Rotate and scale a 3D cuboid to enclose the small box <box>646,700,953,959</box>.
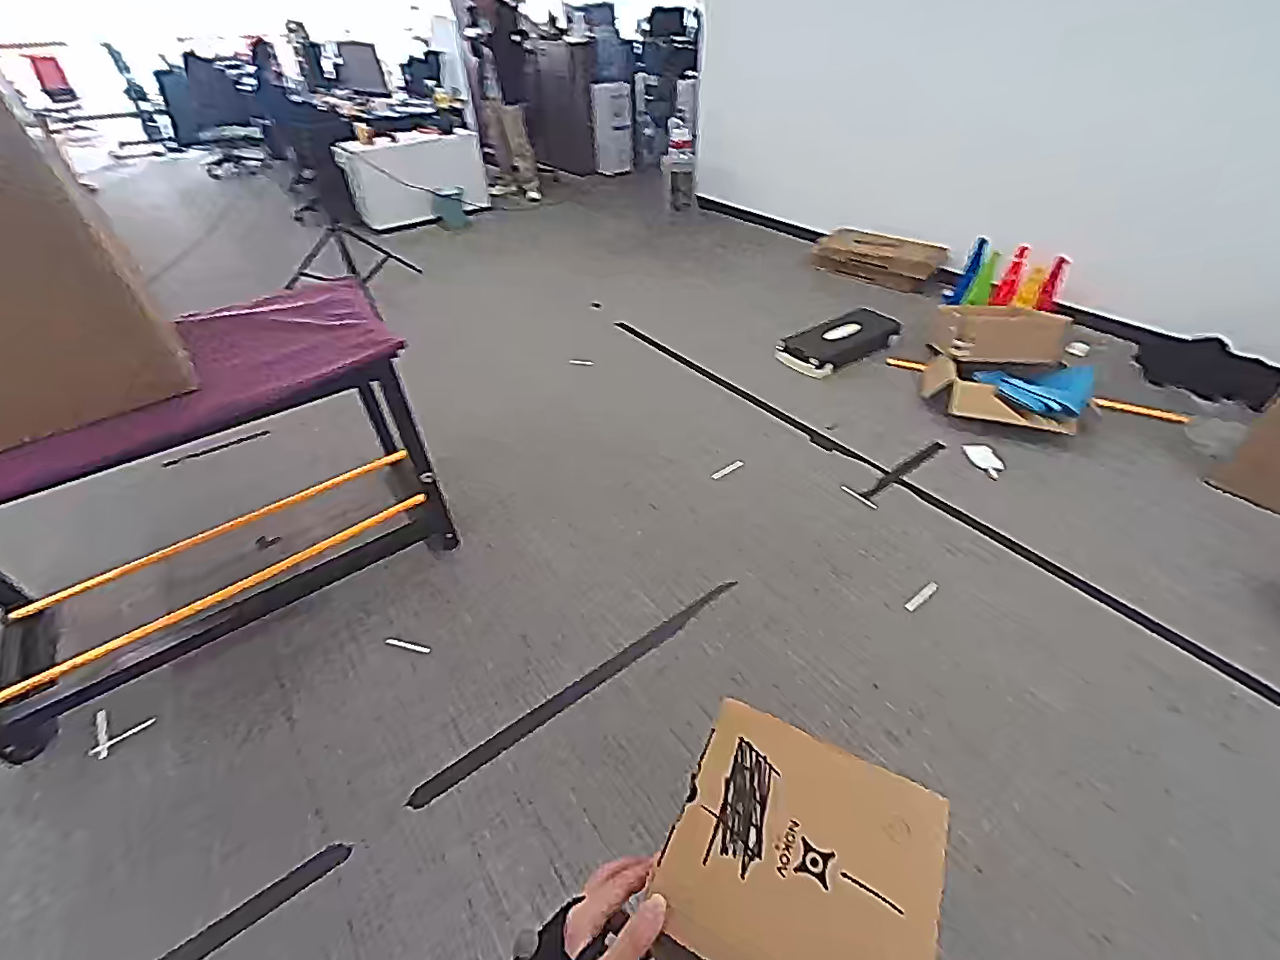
[{"bbox_3d":[0.117,0.316,0.426,0.179,0.176,0.168,19,47,20],"label":"small box"}]
